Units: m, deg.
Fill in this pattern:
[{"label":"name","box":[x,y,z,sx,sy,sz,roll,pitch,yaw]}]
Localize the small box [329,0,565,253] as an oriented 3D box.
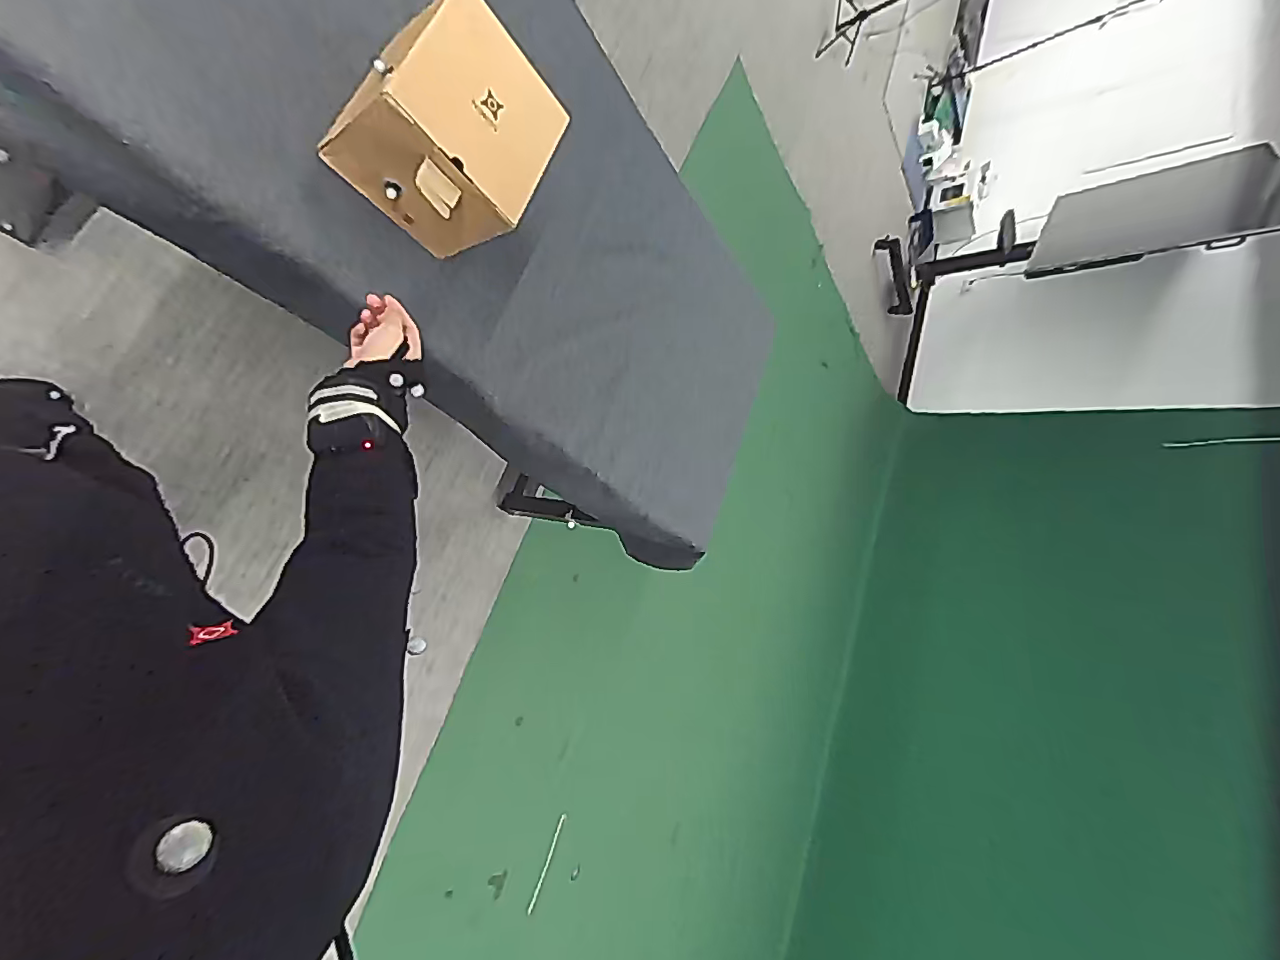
[{"label":"small box","box":[-0.224,-0.401,0.631,0.168,0.176,0.179,37,66,-46]}]
